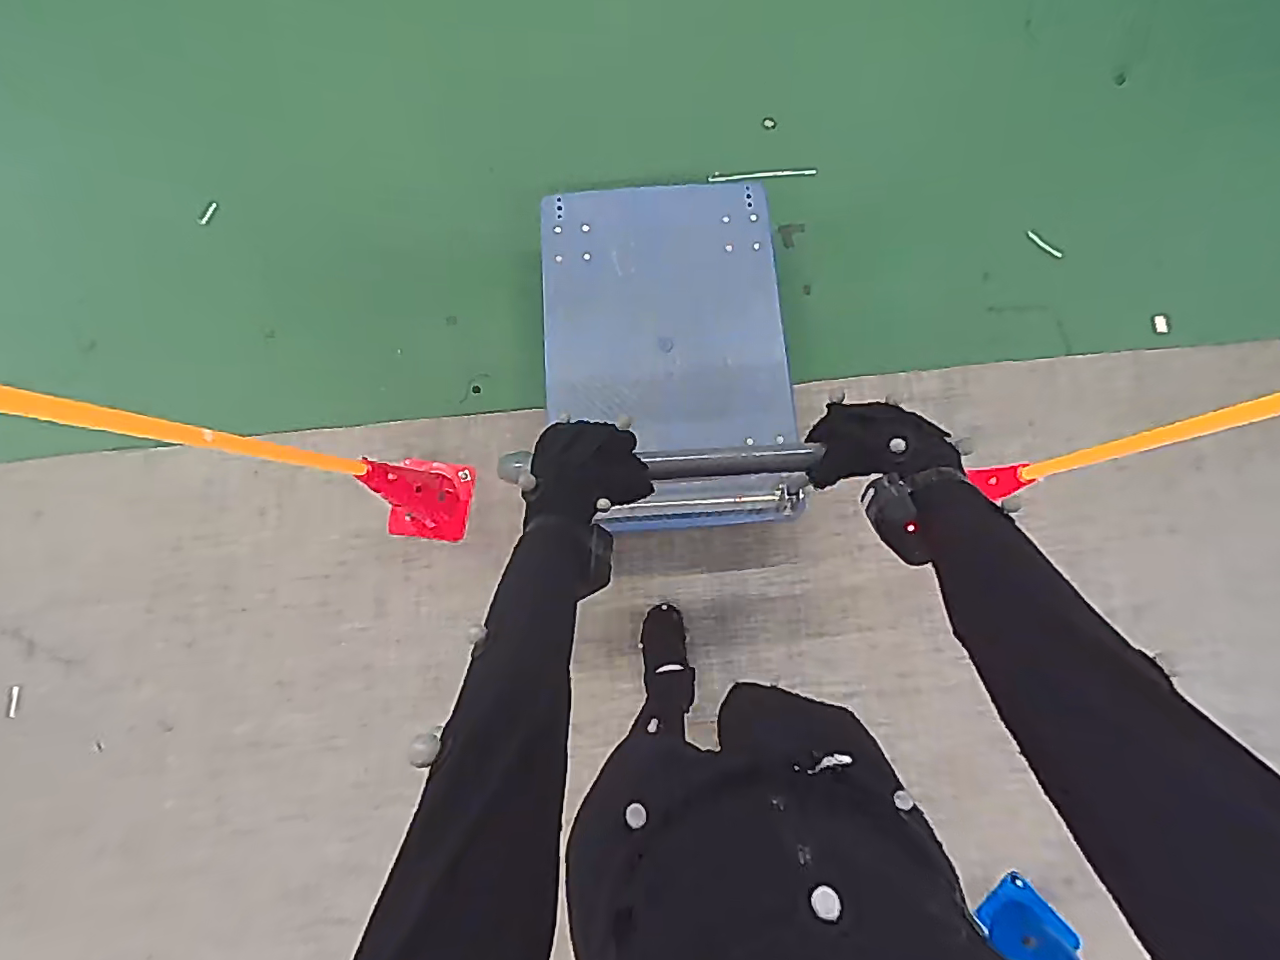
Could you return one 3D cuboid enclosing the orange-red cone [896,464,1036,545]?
[{"bbox_3d":[0.754,0.027,1.219,0.198,0.360,0.199,6,79,2],"label":"orange-red cone"}]
